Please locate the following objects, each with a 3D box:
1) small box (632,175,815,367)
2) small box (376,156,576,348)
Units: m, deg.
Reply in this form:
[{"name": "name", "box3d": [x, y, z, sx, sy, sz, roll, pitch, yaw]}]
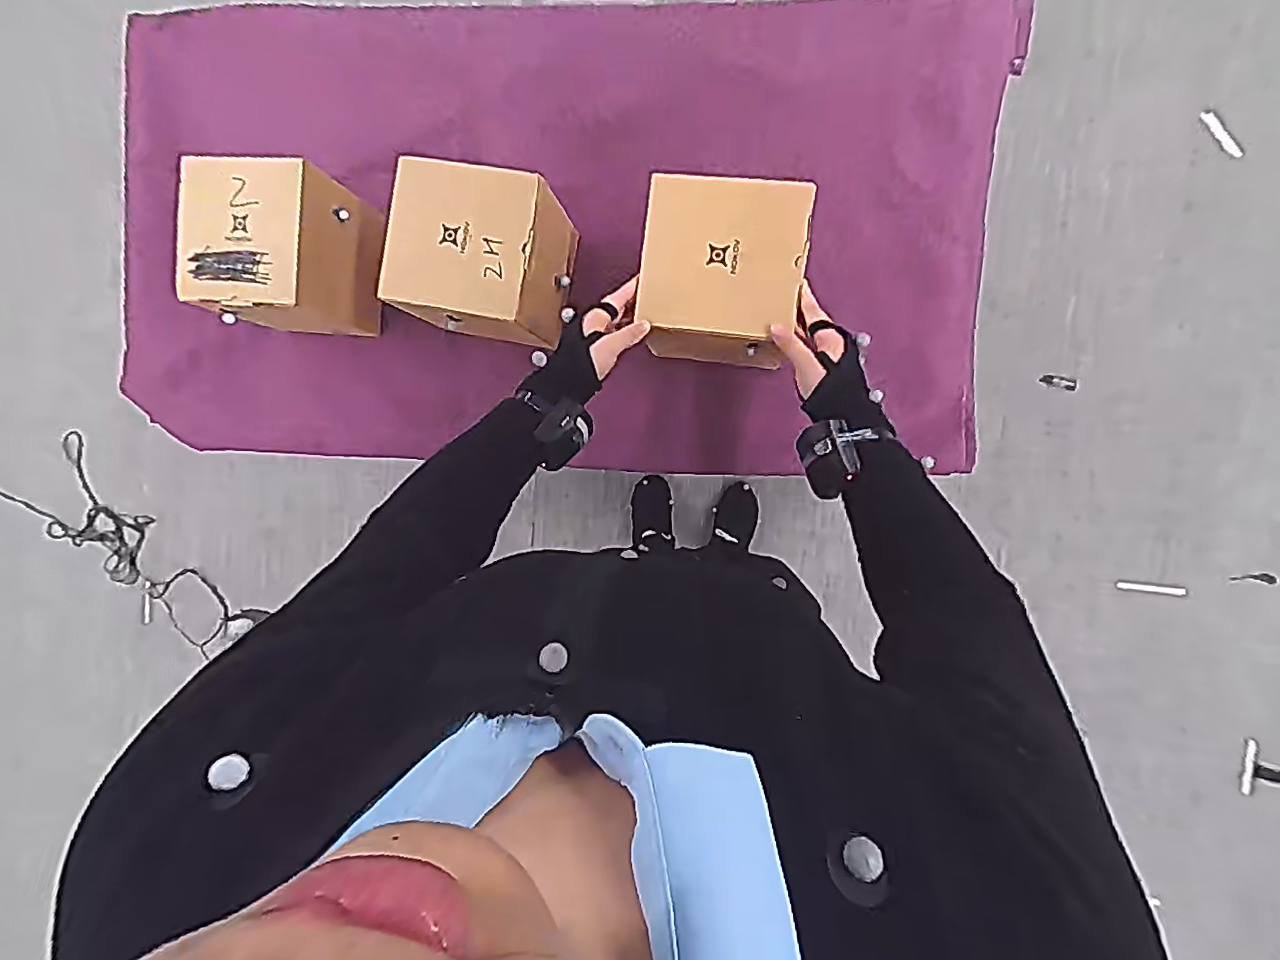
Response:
[{"name": "small box", "box3d": [0.098, -0.239, 0.656, 0.179, 0.176, 0.168, 8, 92, 7]}, {"name": "small box", "box3d": [-0.197, -0.277, 0.692, 0.179, 0.176, 0.168, 12, 94, 6]}]
